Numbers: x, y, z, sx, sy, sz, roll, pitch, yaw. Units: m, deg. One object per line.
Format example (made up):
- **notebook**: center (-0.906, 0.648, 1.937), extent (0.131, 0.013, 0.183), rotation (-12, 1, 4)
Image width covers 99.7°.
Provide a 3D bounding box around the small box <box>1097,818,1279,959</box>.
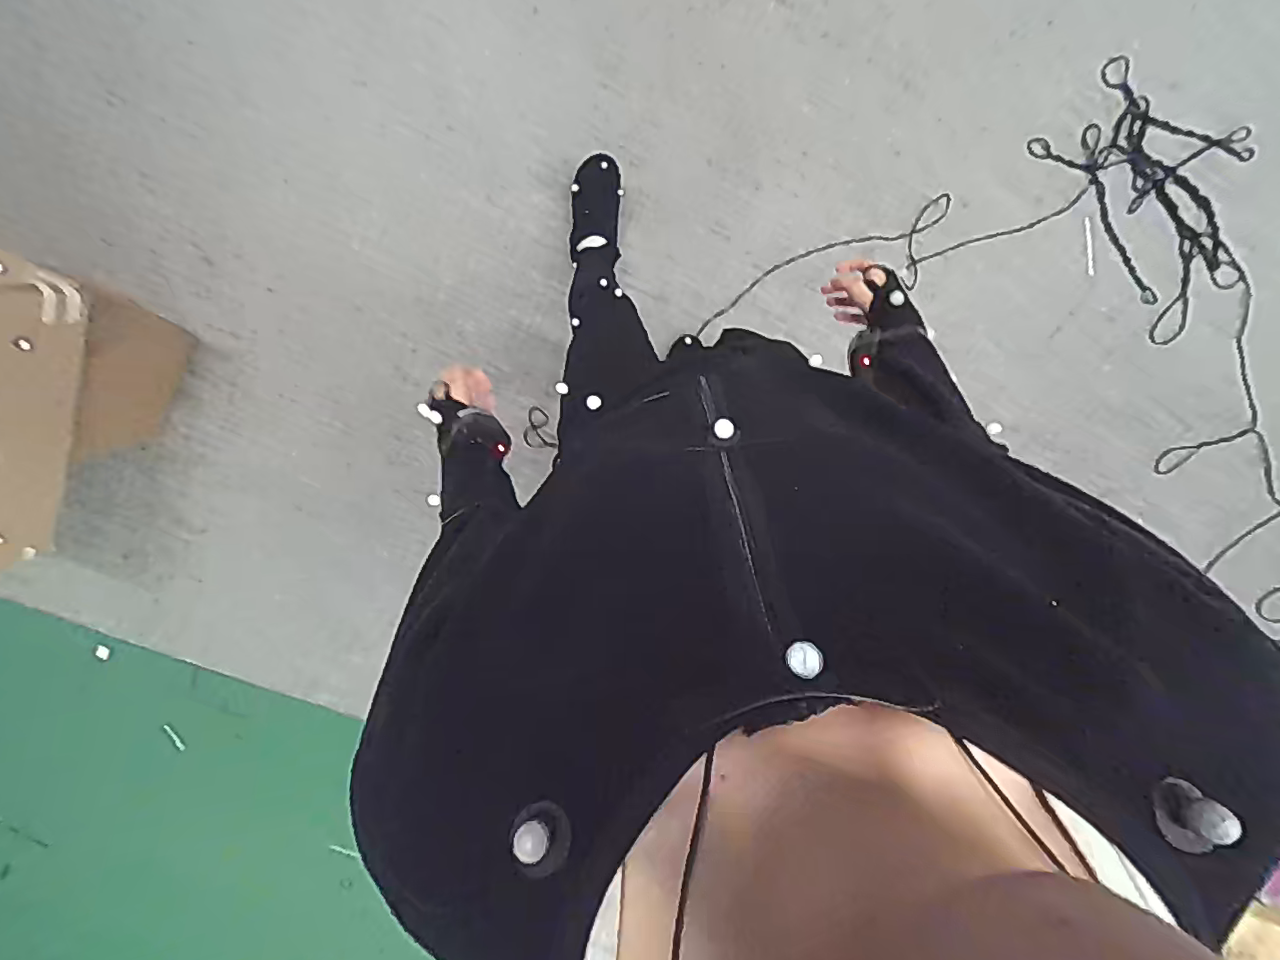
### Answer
- **small box**: center (0.998, 0.754, 0.976), extent (0.179, 0.176, 0.168), rotation (24, 108, -10)
